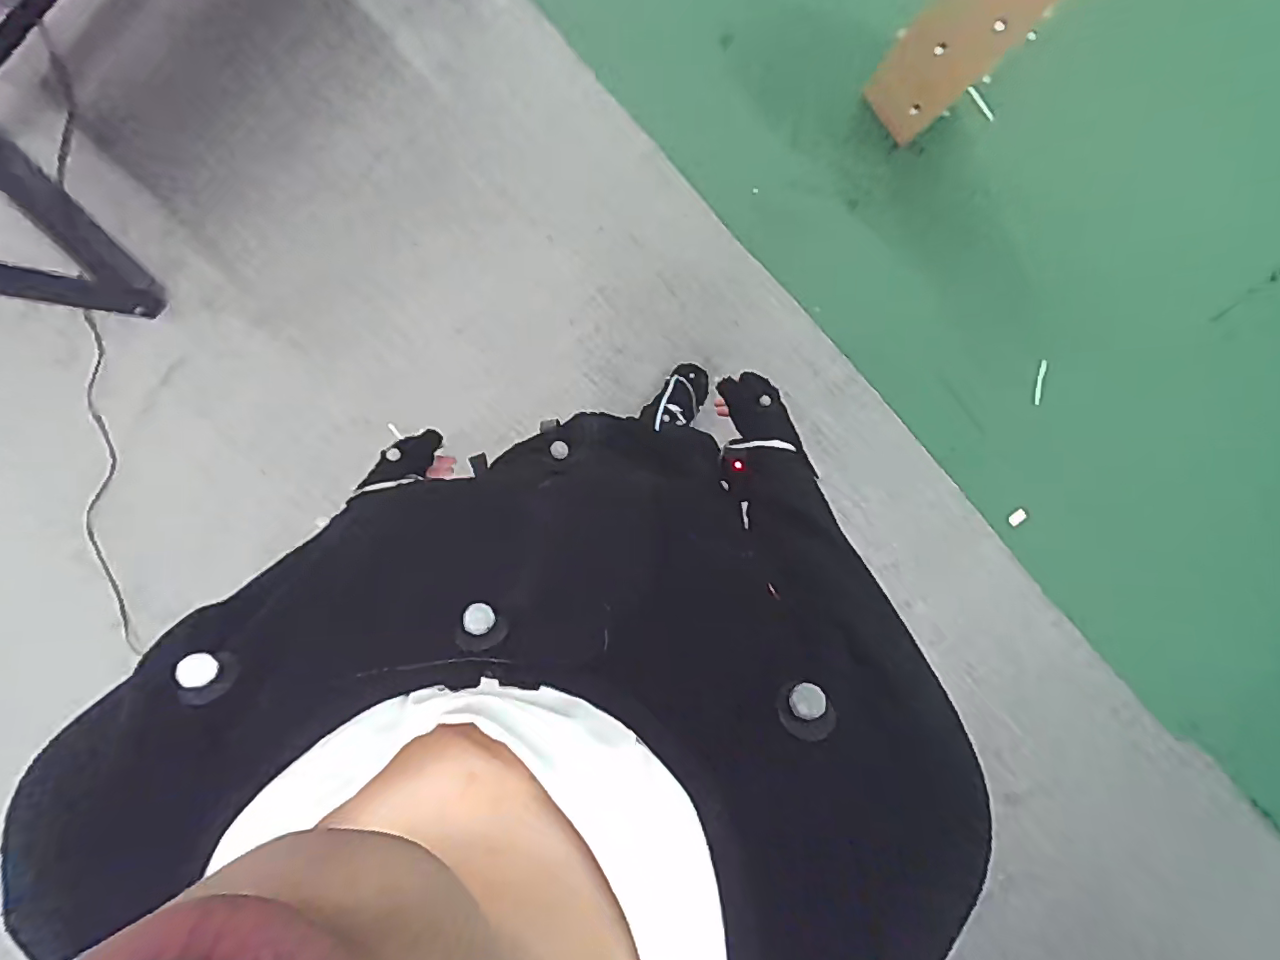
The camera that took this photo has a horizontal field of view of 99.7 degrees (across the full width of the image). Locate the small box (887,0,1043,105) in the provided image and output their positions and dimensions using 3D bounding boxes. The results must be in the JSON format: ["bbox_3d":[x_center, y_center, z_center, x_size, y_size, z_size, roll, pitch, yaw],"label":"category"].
[{"bbox_3d":[0.646,-0.908,1.096,0.168,0.176,0.179,-41,98,6],"label":"small box"}]

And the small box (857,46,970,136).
[{"bbox_3d":[0.646,-0.942,1.255,0.168,0.176,0.179,-42,99,5],"label":"small box"}]
